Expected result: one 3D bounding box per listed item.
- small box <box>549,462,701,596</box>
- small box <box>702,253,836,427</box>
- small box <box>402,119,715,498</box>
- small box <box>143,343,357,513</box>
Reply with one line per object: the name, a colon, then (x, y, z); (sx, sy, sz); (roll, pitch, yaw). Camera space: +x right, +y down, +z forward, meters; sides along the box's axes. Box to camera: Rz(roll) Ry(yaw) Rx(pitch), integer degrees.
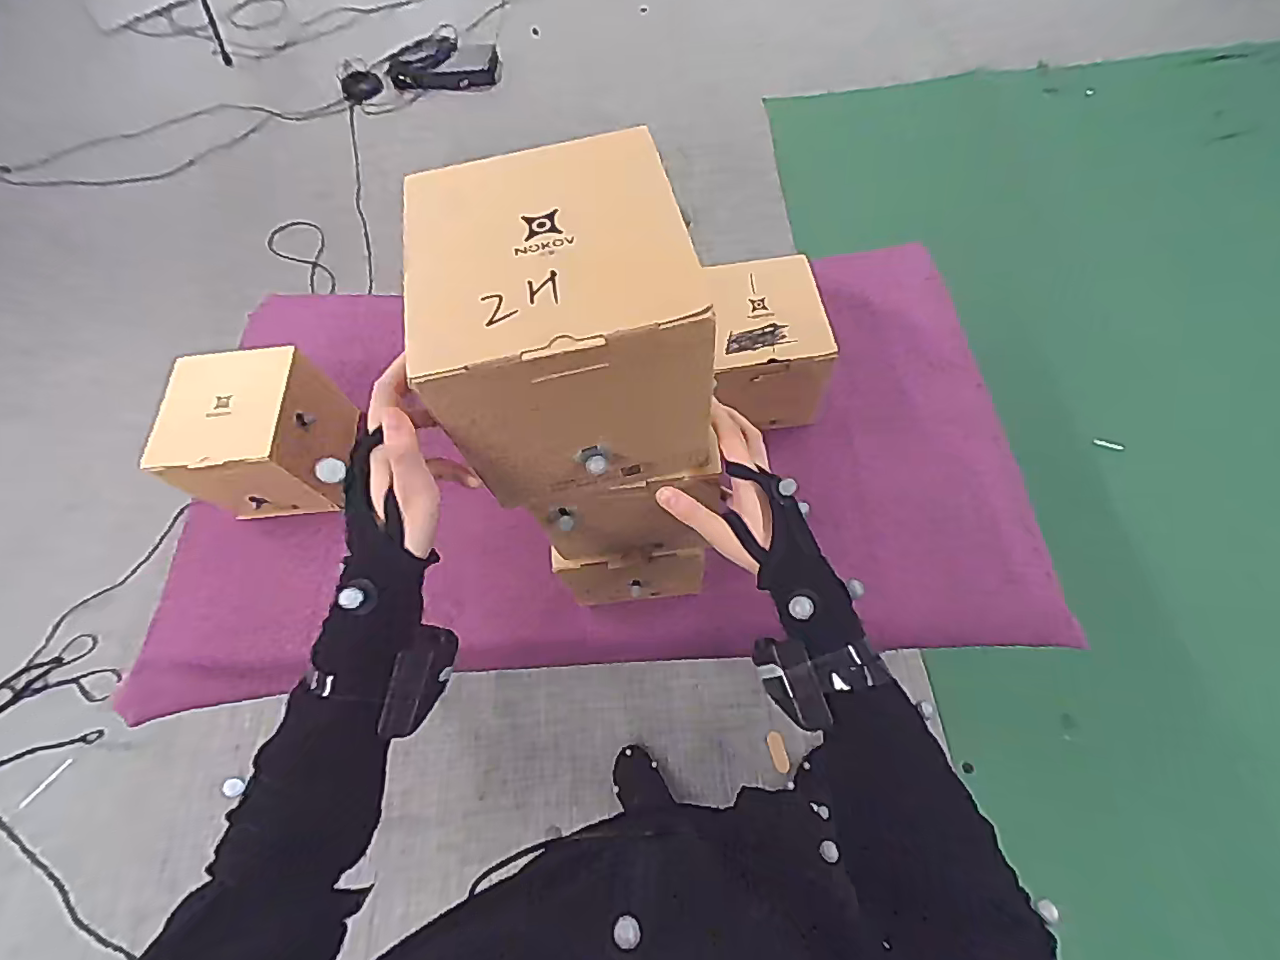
small box: (-0.015, 0.042, 0.676); (0.168, 0.176, 0.179); (-6, 64, 1)
small box: (0.161, -0.187, 0.771); (0.168, 0.176, 0.179); (-7, 64, 1)
small box: (-0.050, -0.110, 0.386); (0.168, 0.176, 0.179); (-13, 63, 0)
small box: (-0.531, -0.068, 0.769); (0.168, 0.176, 0.179); (-5, 65, 1)
